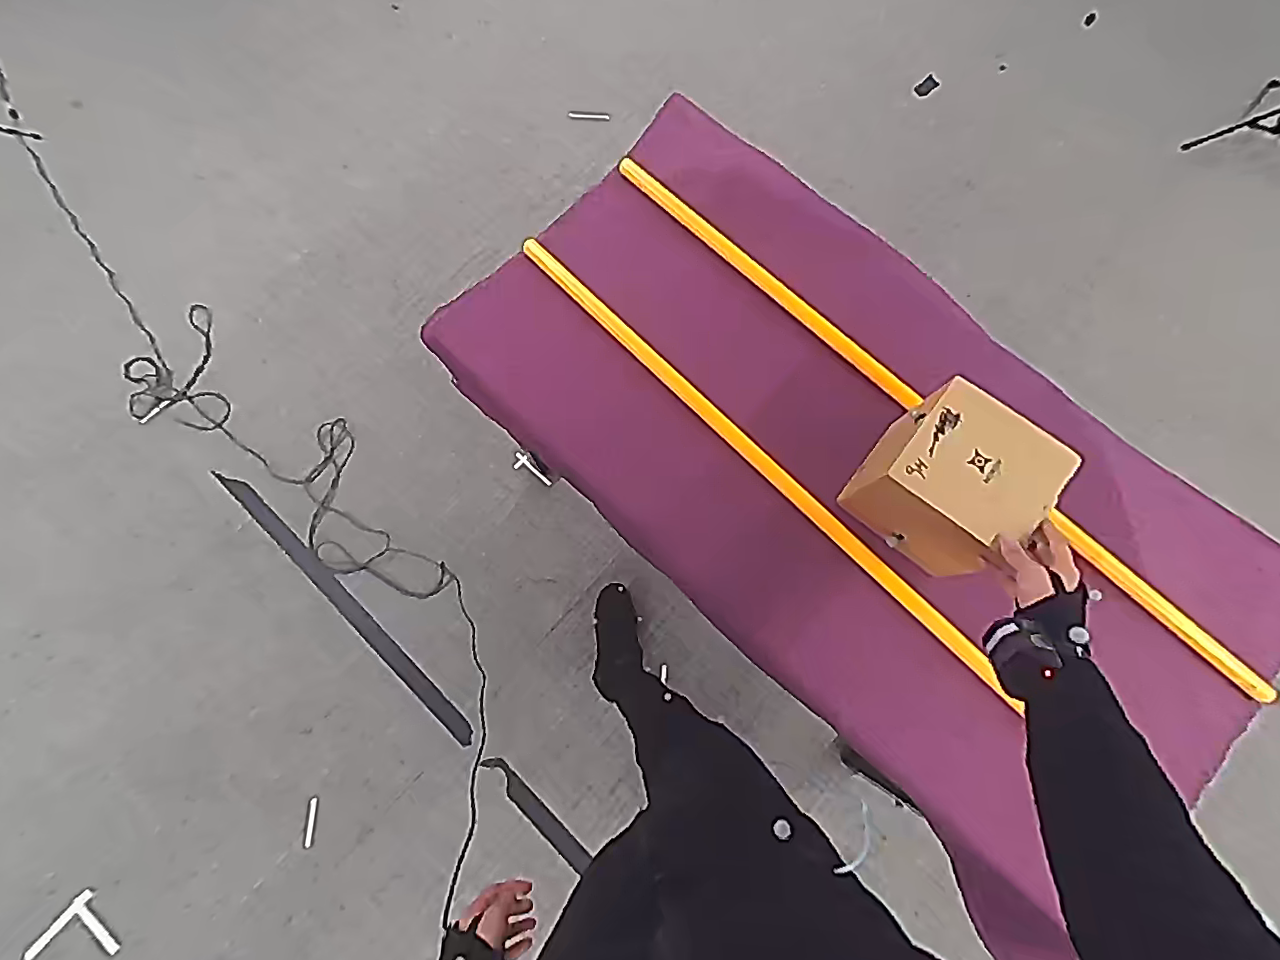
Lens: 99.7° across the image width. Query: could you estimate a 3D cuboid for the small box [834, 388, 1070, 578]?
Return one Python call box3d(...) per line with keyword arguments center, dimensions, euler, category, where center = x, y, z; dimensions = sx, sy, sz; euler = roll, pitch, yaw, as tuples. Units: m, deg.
box3d(center=(0.398, 0.014, 0.721), dimensions=(0.179, 0.176, 0.168), euler=(39, 79, 7), category="small box")
